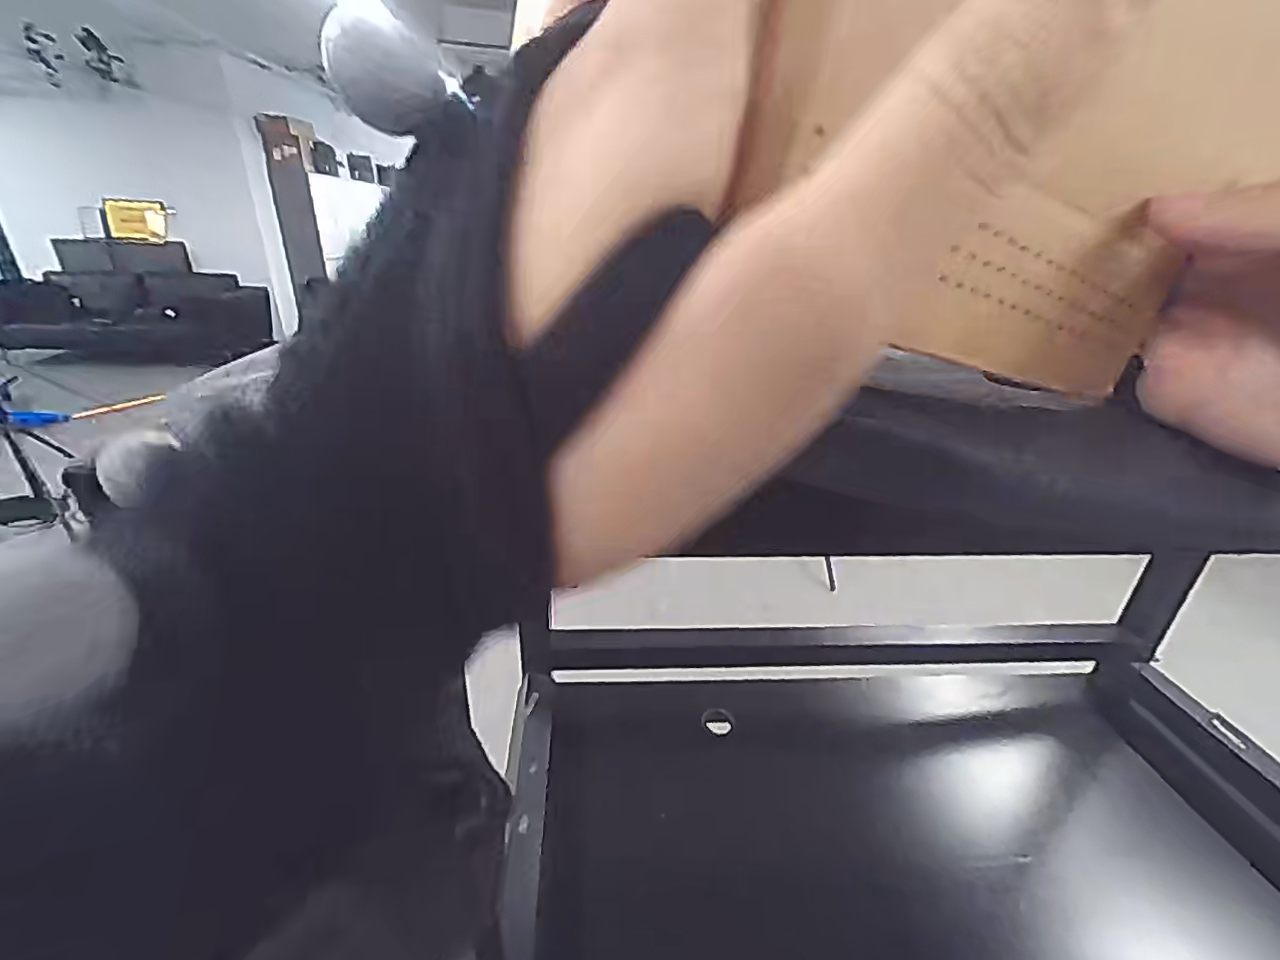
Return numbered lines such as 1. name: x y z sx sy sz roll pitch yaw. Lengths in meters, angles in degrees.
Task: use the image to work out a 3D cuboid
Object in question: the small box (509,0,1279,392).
1. small box: 0.066 -0.135 0.173 0.179 0.176 0.168 2 26 -32
